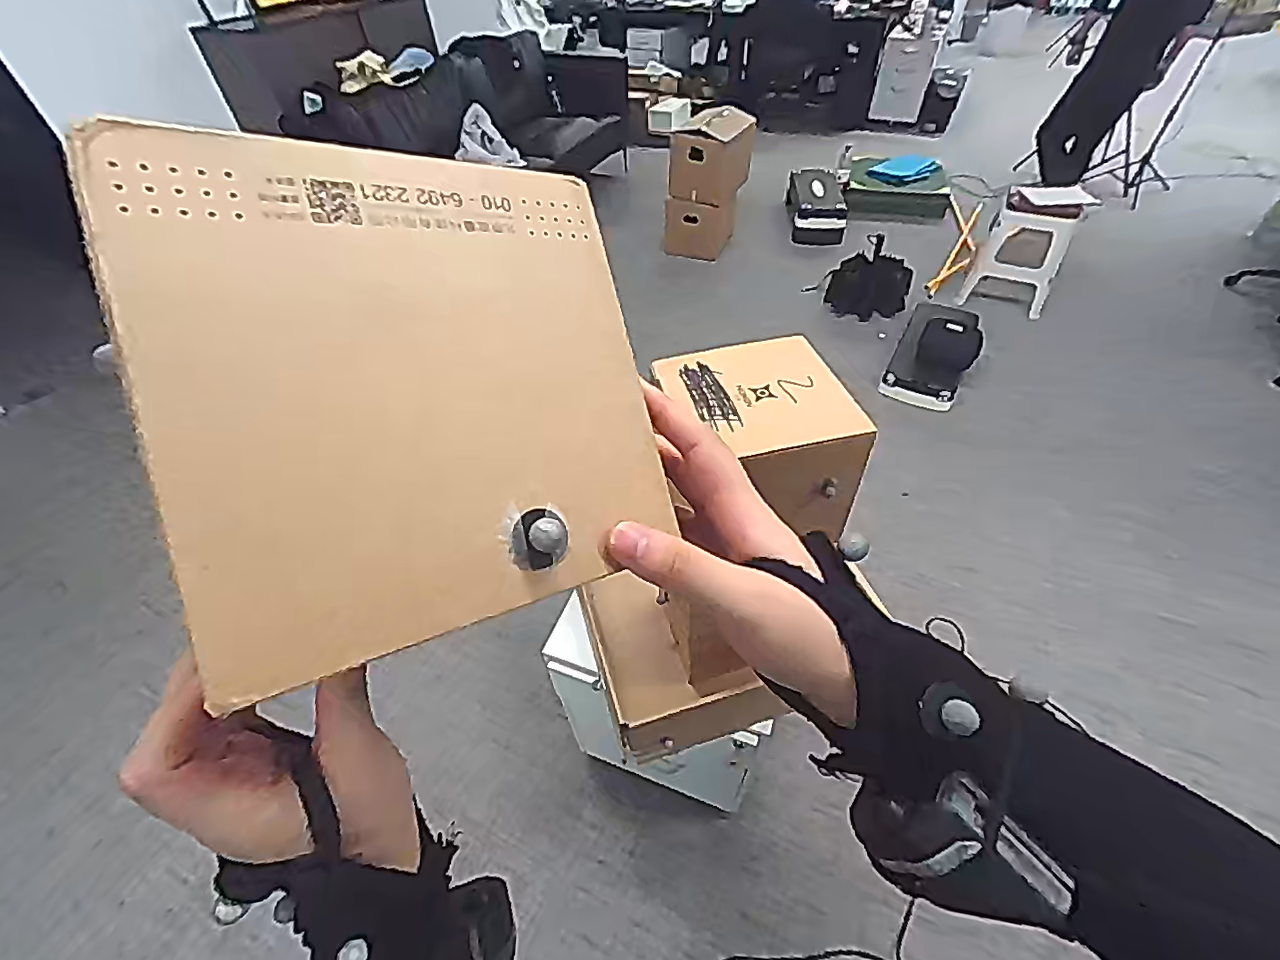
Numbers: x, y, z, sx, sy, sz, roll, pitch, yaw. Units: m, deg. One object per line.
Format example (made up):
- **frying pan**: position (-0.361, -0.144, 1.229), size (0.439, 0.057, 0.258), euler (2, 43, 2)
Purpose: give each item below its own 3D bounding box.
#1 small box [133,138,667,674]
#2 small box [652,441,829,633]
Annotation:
- **small box**: position (-0.115, -0.025, 0.272), size (0.168, 0.179, 0.176), euler (-13, 88, -35)
- **small box**: position (0.122, 0.077, 0.724), size (0.179, 0.176, 0.168), euler (-14, 46, -7)
